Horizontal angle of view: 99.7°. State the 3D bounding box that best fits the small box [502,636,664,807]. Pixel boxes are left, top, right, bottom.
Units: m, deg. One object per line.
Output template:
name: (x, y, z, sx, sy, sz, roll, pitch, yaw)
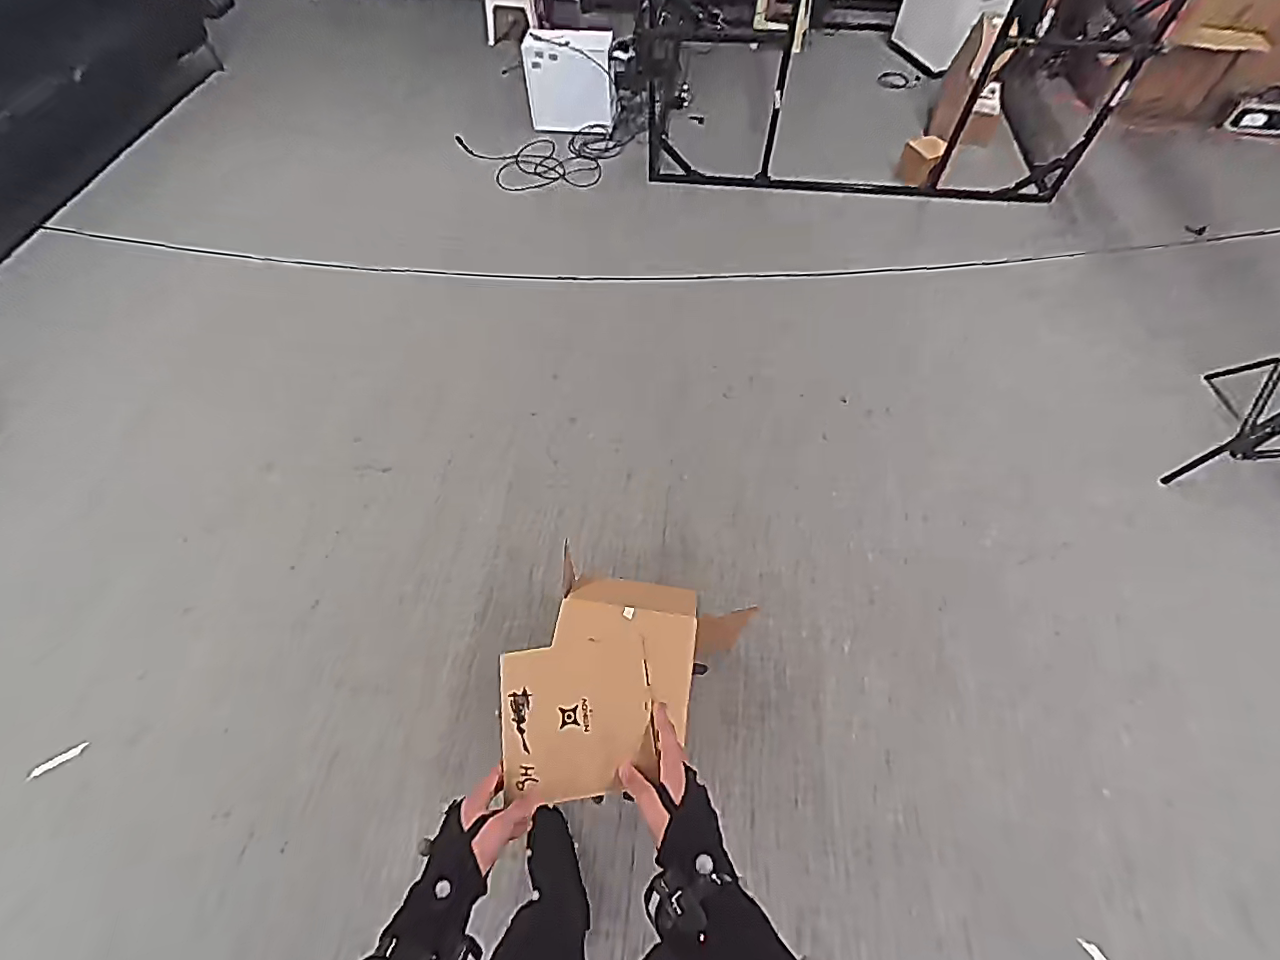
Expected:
small box: (-0.067, 0.301, 0.686, 0.179, 0.176, 0.168, -7, 65, -1)
